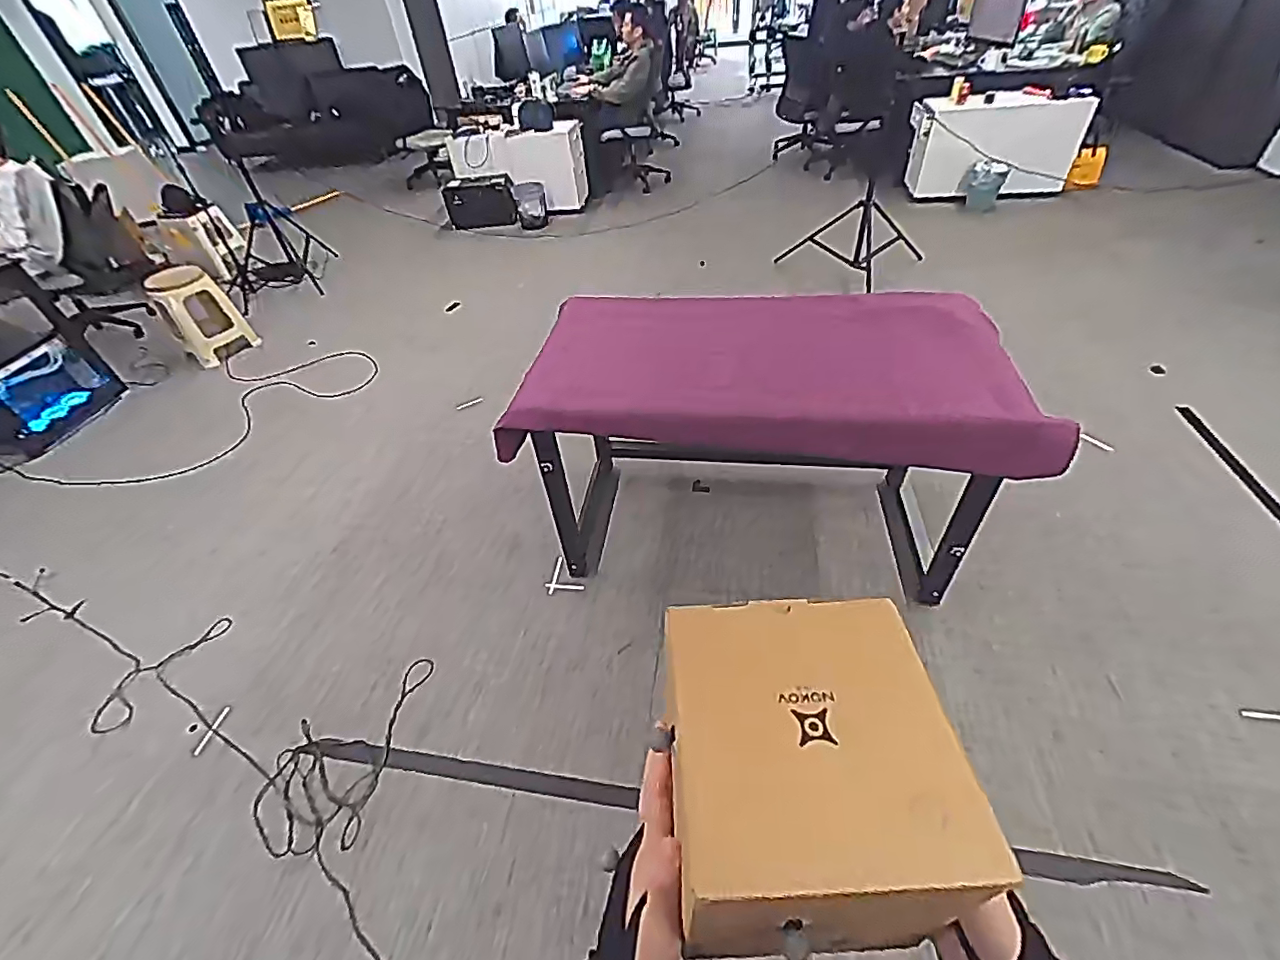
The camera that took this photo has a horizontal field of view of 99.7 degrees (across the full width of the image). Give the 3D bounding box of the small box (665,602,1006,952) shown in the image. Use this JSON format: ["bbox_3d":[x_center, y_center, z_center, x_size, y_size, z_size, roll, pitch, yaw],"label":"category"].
[{"bbox_3d":[0.106,0.211,0.387,0.168,0.176,0.179,-2,39,-1],"label":"small box"}]
